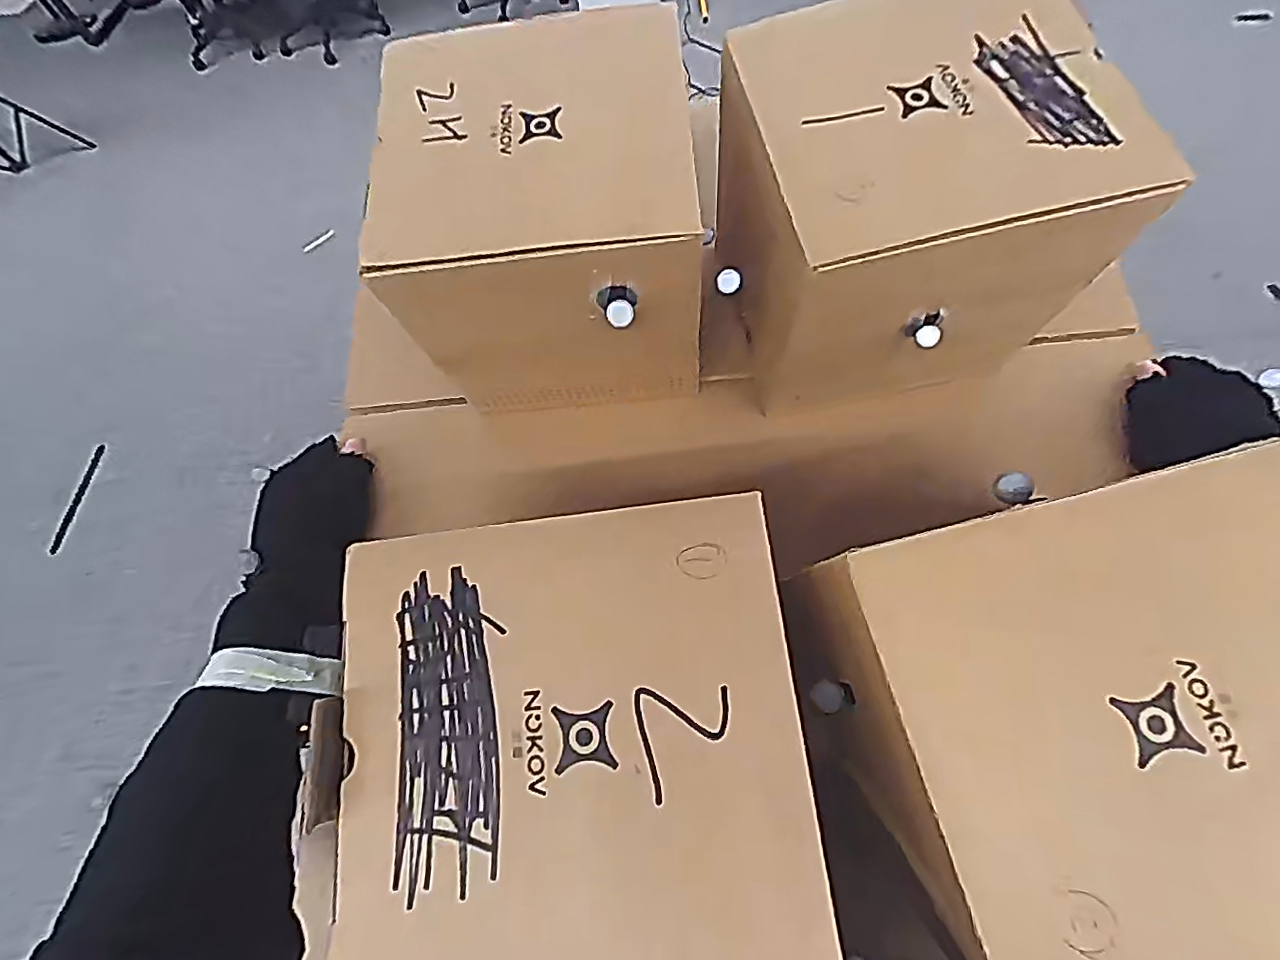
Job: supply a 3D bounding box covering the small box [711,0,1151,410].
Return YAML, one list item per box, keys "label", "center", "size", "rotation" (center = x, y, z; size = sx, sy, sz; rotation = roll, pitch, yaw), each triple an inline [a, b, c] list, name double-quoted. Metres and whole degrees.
- label: "small box"
  center: [0.148, -0.165, 0.354]
  size: [0.179, 0.176, 0.168]
  rotation: [-13, 71, 3]

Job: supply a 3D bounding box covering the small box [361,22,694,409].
- label: "small box"
  center: [-0.056, -0.161, 0.375]
  size: [0.179, 0.176, 0.168]
  rotation: [-4, 71, 5]
